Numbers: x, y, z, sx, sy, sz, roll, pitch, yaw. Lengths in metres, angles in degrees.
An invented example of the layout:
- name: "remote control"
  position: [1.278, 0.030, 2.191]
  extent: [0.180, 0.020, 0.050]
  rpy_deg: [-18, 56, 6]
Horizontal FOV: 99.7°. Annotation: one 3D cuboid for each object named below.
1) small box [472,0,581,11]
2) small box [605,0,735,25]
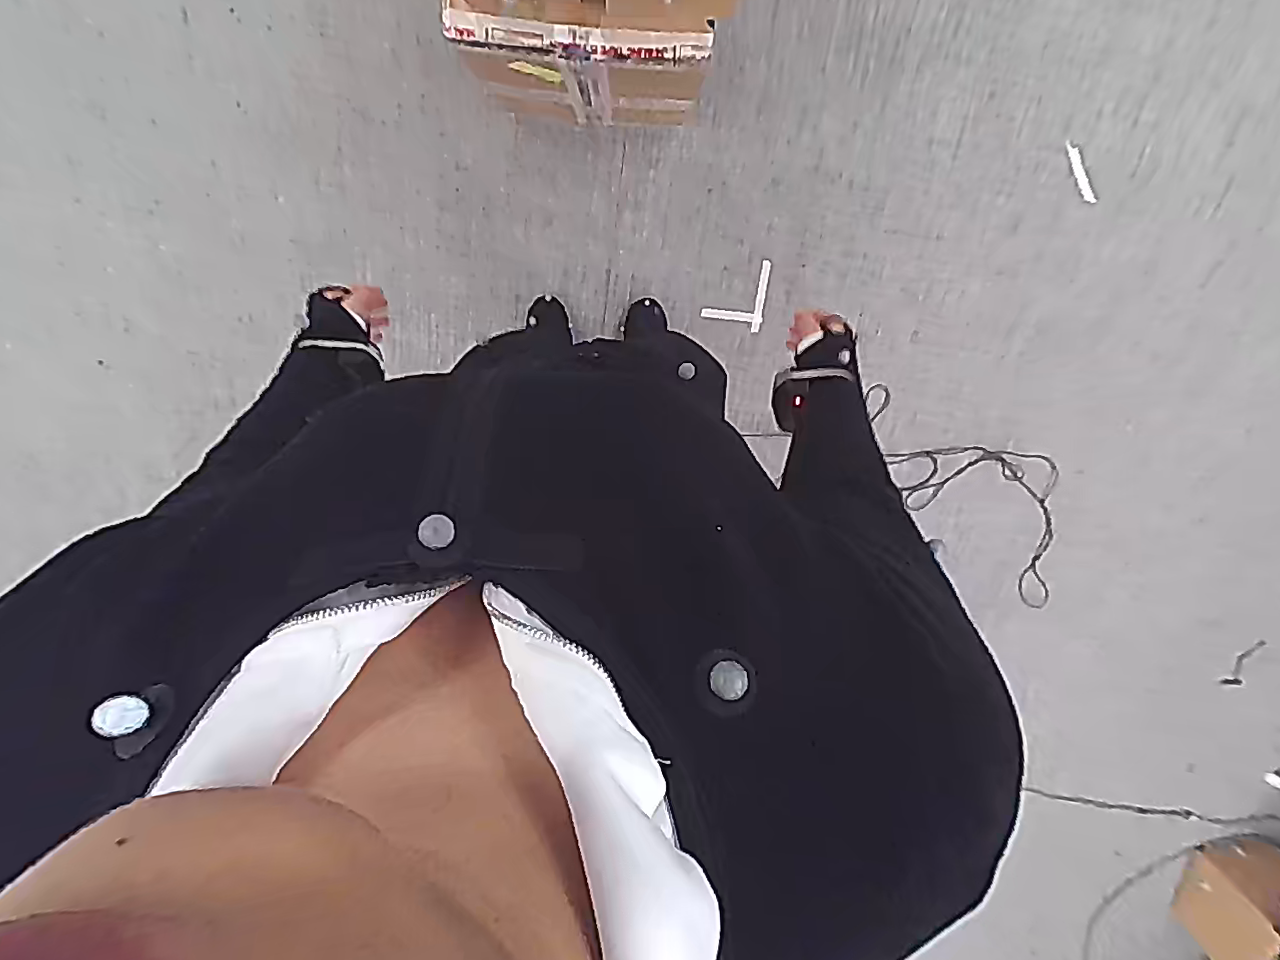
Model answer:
- name: "small box"
  position: [-0.162, -0.711, 0.655]
  extent: [0.168, 0.176, 0.179]
  rpy_deg: [-1, 116, 1]
- name: "small box"
  position: [0.045, -0.695, 0.667]
  extent: [0.179, 0.176, 0.168]
  rpy_deg: [1, 114, -3]
